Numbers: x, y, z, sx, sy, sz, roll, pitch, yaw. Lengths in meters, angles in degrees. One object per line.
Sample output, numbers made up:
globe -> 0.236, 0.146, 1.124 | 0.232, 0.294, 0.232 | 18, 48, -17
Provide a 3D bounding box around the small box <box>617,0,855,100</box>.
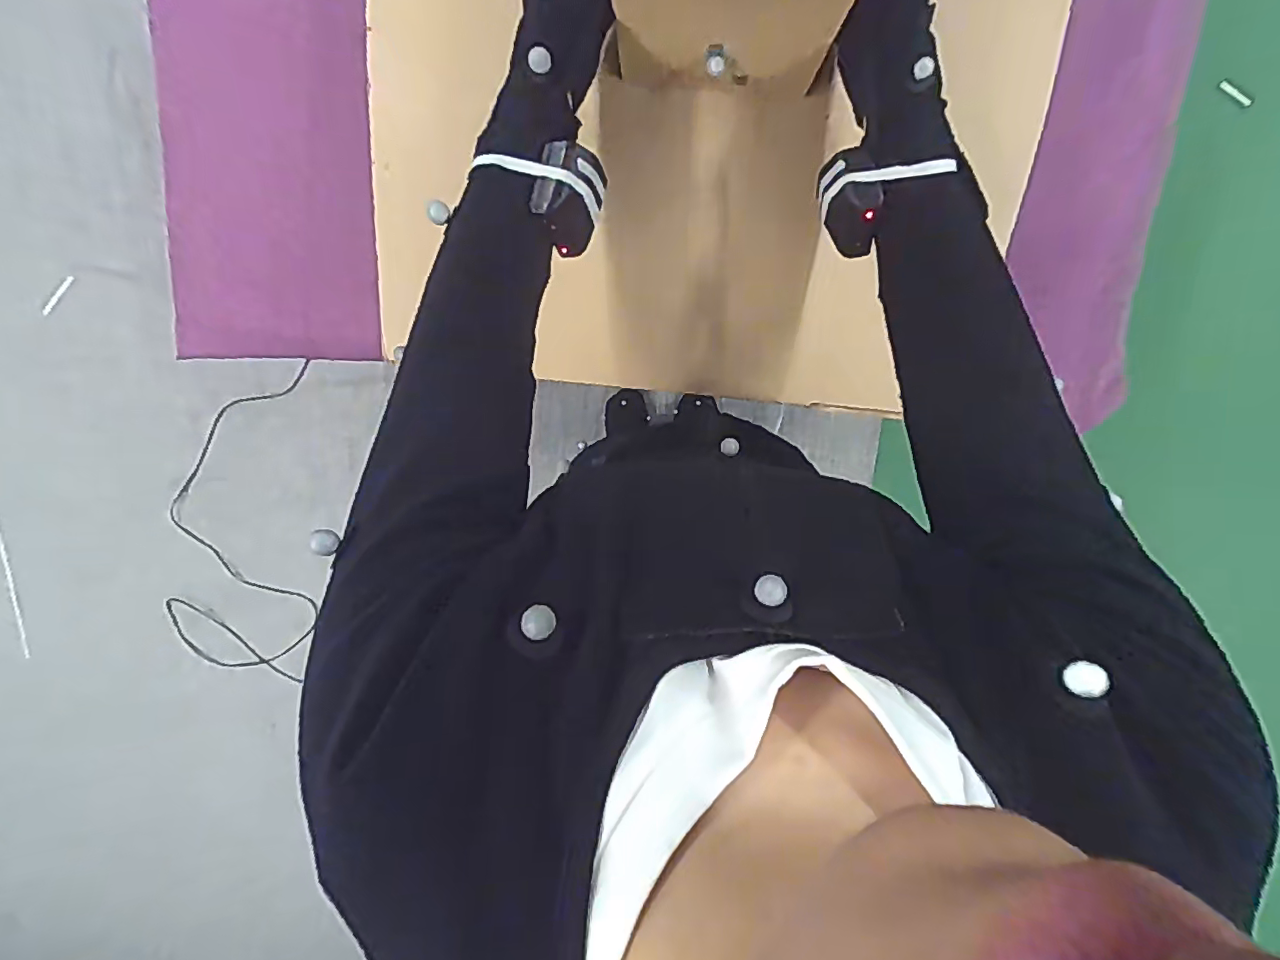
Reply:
small box -> 0.072, -0.416, 0.384 | 0.168, 0.176, 0.179 | 7, 101, 0
